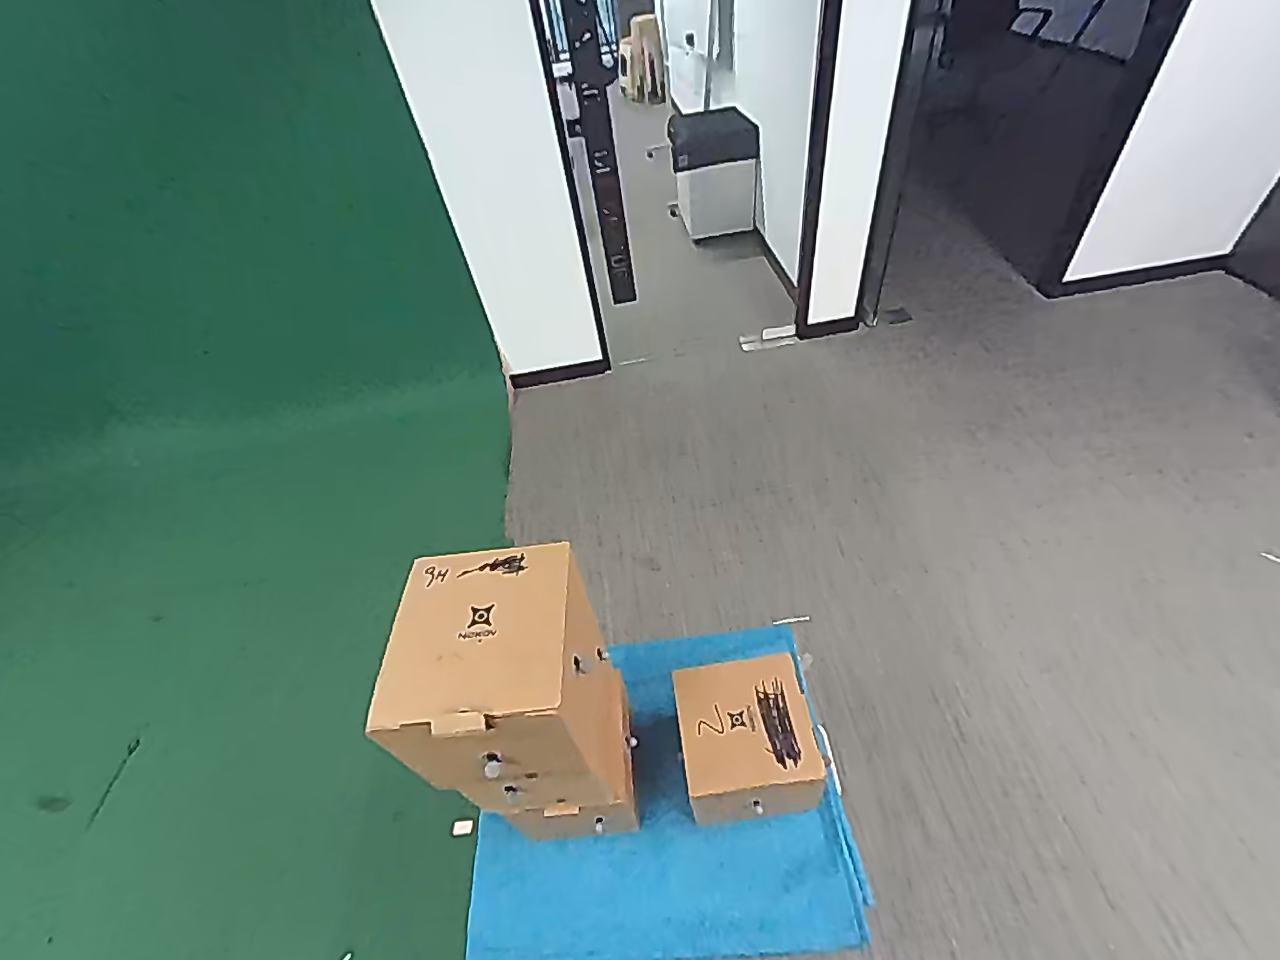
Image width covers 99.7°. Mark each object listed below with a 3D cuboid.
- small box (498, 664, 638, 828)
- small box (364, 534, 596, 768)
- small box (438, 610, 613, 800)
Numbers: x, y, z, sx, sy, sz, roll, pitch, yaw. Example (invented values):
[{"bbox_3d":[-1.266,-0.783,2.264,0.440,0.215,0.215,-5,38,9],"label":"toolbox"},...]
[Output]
[{"bbox_3d":[-0.095,0.394,0.793,0.168,0.176,0.179,-6,46,3],"label":"small box"},{"bbox_3d":[-0.139,0.179,0.552,0.168,0.176,0.179,-5,46,3],"label":"small box"},{"bbox_3d":[-0.126,0.285,0.677,0.168,0.176,0.179,-6,45,4],"label":"small box"}]
